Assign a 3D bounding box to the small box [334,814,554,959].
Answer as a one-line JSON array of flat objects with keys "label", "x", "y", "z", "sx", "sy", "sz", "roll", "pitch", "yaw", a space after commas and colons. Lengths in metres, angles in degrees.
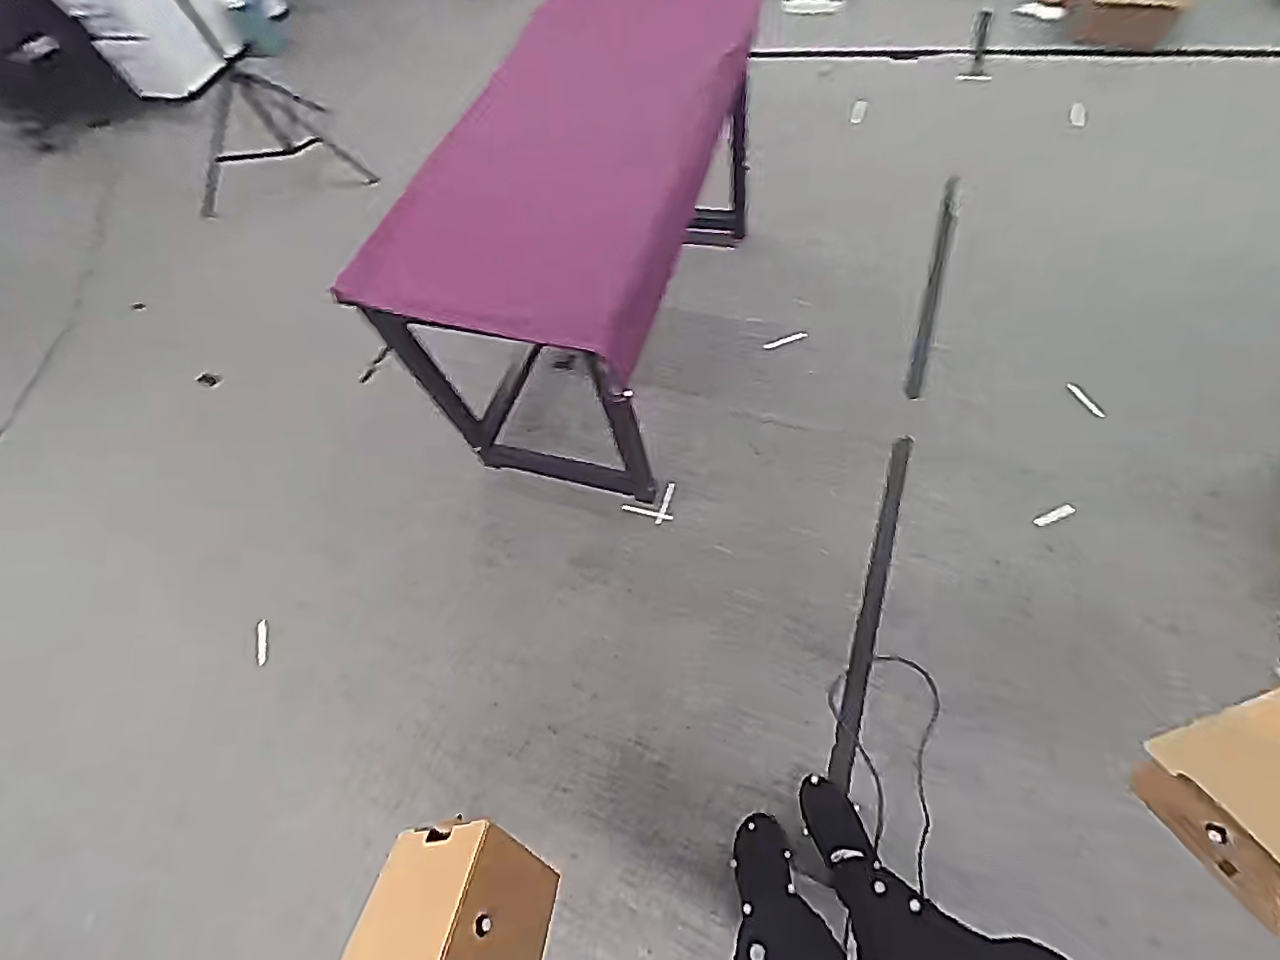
[{"label": "small box", "x": -0.232, "y": 0.555, "z": 0.676, "sx": 0.168, "sy": 0.176, "sz": 0.179, "roll": -19, "pitch": 28, "yaw": 23}]
